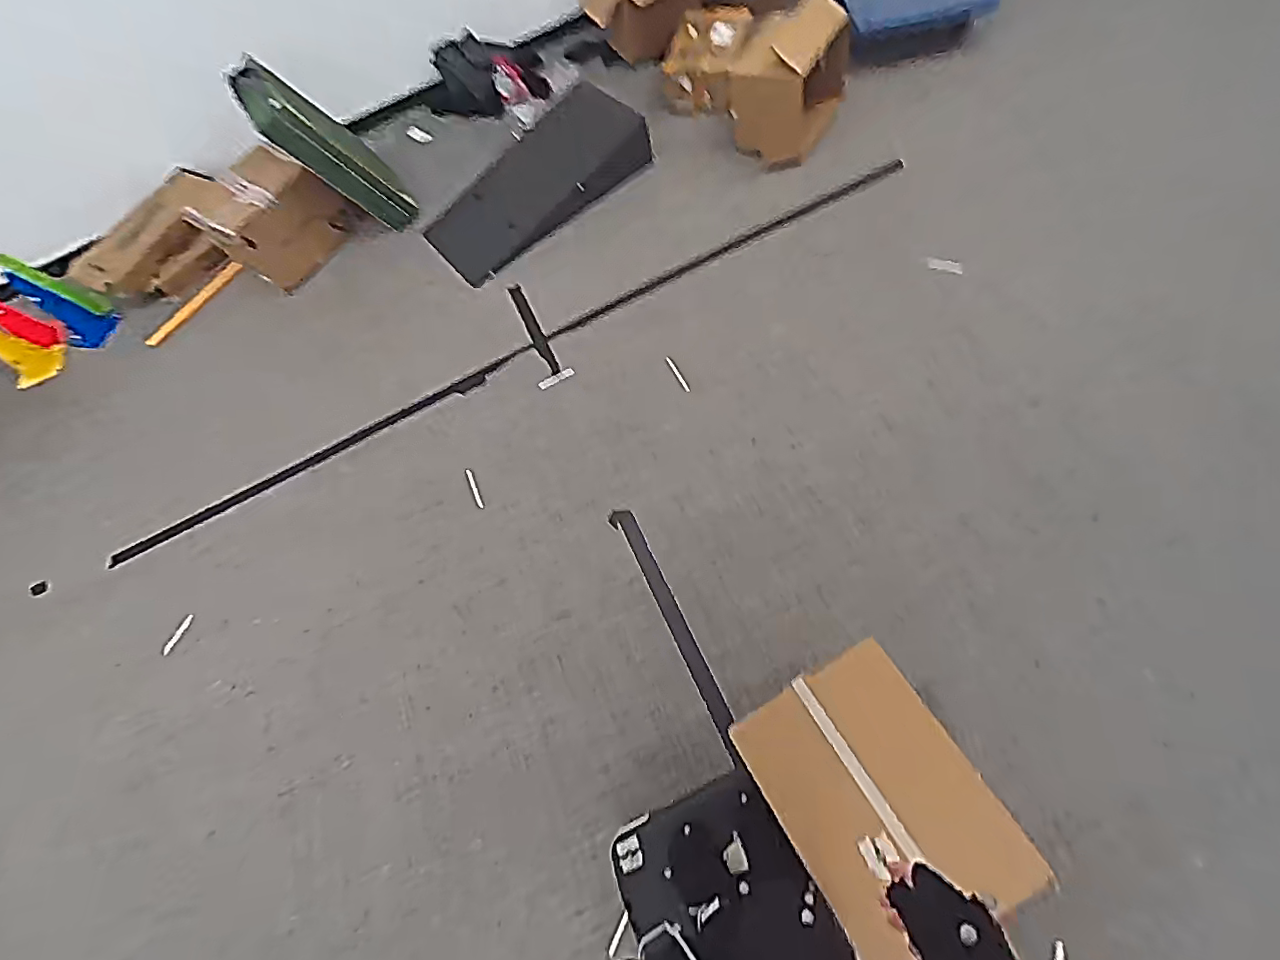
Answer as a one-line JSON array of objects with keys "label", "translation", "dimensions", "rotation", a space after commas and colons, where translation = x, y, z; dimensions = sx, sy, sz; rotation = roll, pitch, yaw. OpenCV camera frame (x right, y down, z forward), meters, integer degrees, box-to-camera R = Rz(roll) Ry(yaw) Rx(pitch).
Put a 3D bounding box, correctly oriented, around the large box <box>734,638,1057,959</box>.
[{"label": "large box", "translation": [0.426, 0.562, 1.014], "dimensions": [0.320, 0.320, 0.408], "rotation": [-34, 64, 2]}]
